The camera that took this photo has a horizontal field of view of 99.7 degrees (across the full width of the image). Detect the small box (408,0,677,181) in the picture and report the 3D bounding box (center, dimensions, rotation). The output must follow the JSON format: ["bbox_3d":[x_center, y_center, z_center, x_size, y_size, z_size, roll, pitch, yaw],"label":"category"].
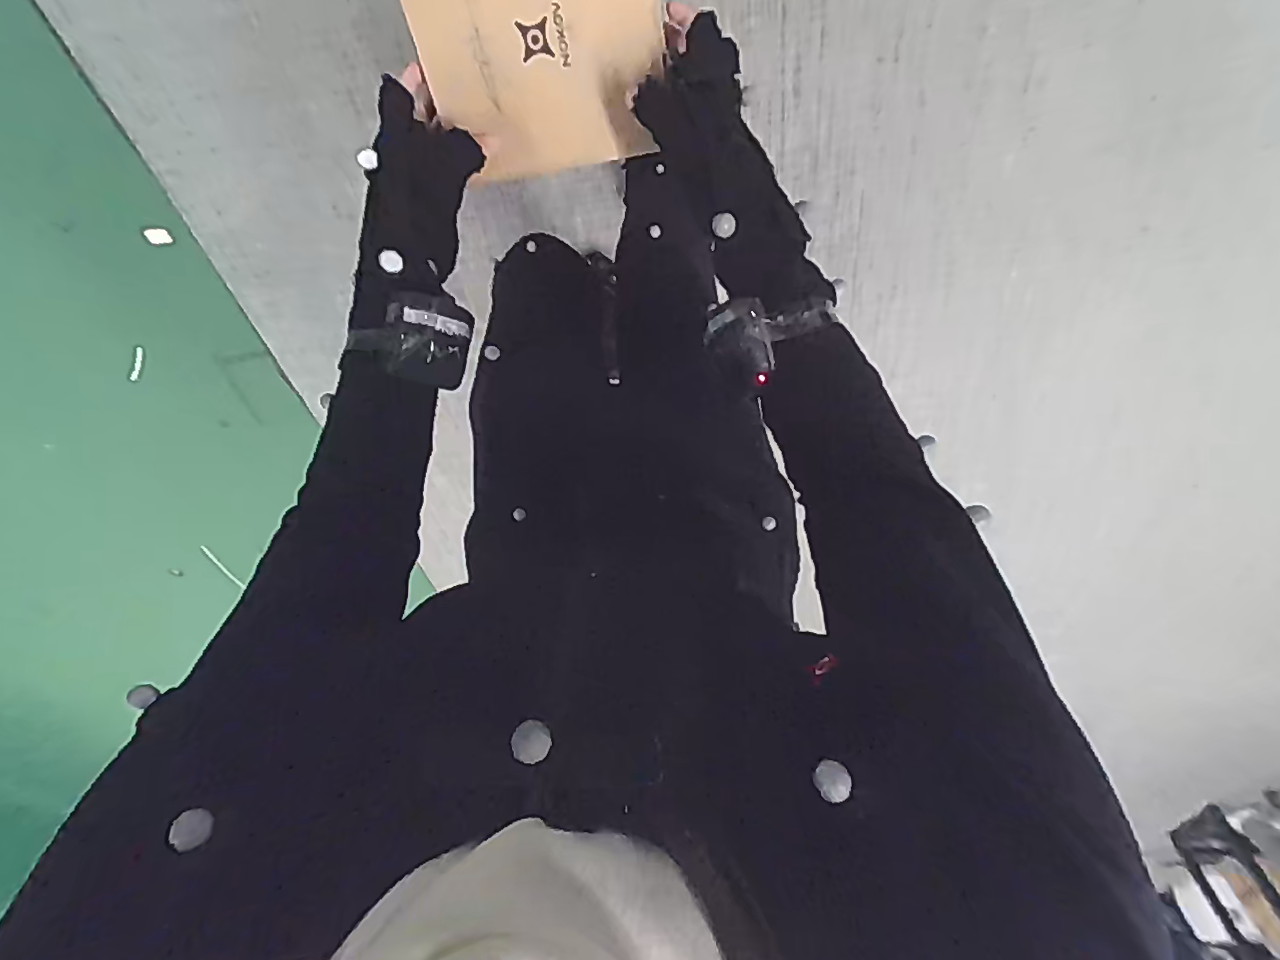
[{"bbox_3d":[-0.074,-0.370,0.447,0.179,0.176,0.168,-10,129,4],"label":"small box"}]

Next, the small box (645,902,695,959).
[{"bbox_3d":[0.115,1.688,2.011,0.179,0.176,0.168,-4,135,6],"label":"small box"}]
